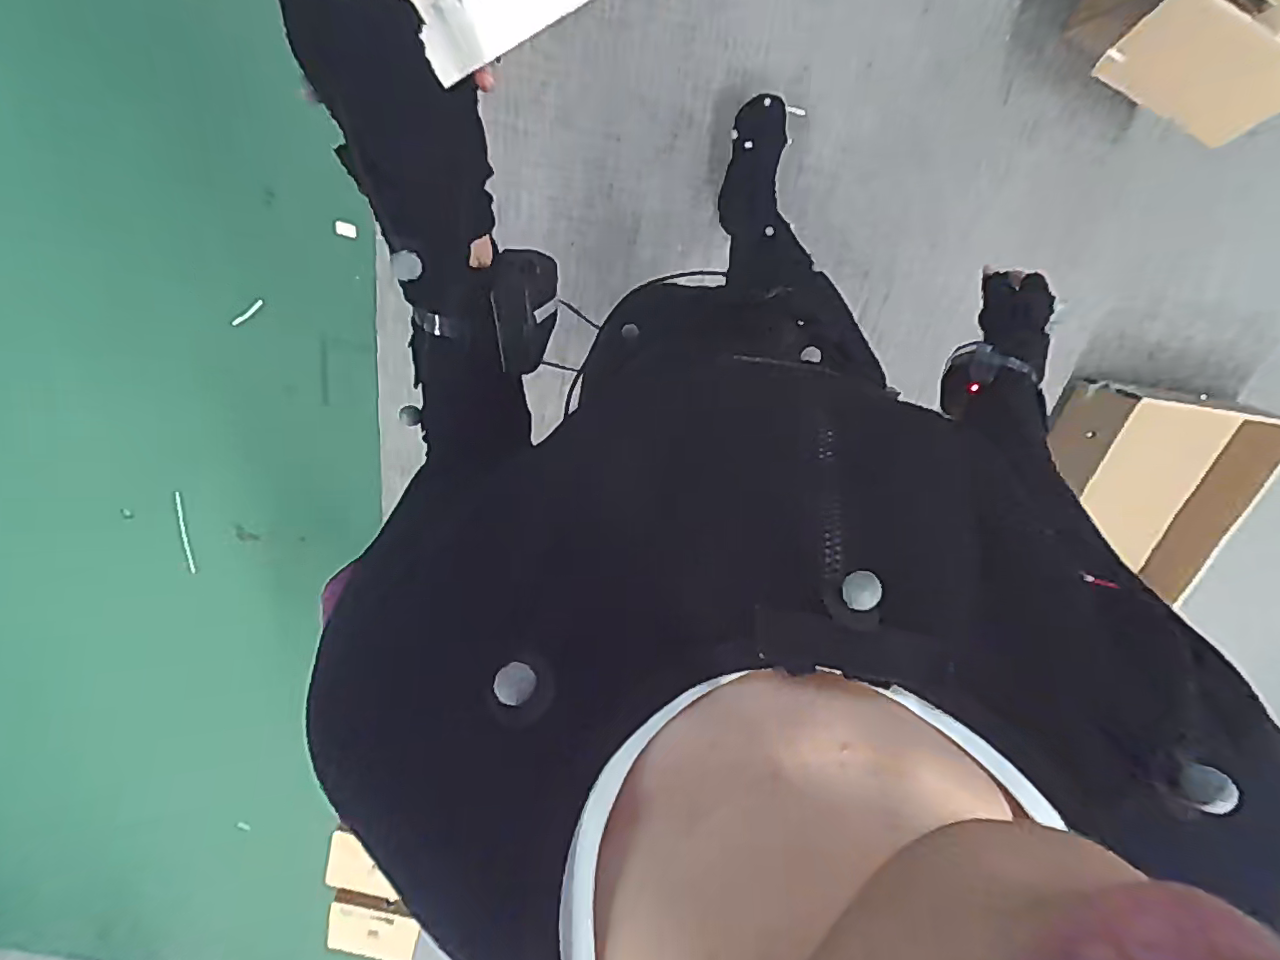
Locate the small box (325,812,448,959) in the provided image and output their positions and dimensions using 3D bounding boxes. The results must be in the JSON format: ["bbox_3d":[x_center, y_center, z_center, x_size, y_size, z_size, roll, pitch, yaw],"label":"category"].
[{"bbox_3d":[-0.503,0.812,1.086,0.168,0.176,0.179,17,117,-6],"label":"small box"}]

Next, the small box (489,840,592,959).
[{"bbox_3d":[-0.198,0.882,1.102,0.168,0.176,0.179,13,116,-3],"label":"small box"}]
